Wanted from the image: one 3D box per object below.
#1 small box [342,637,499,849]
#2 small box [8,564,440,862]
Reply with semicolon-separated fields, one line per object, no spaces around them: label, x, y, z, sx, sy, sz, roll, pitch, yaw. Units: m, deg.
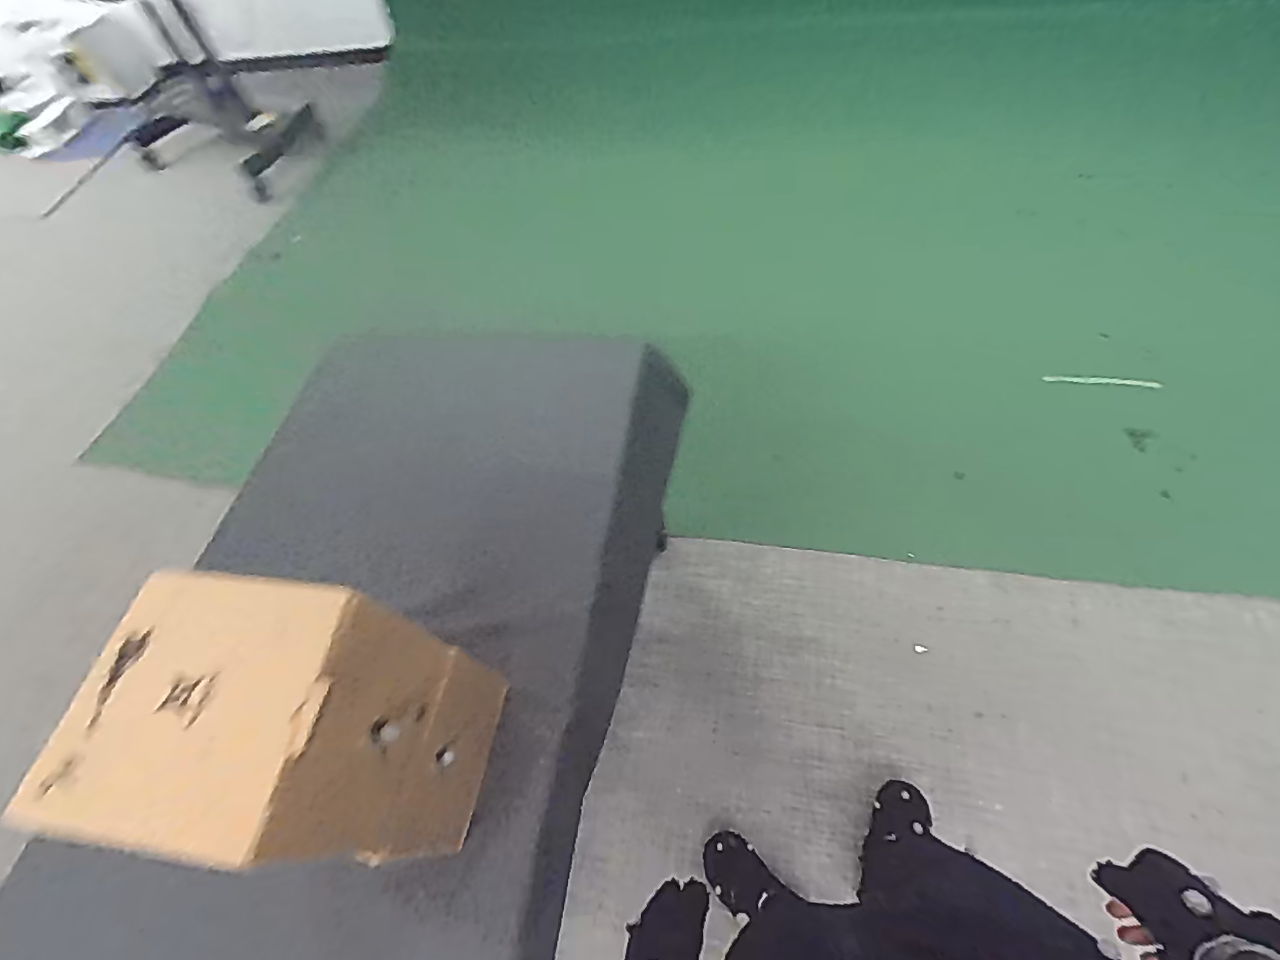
small box;-0.267;0.263;0.568;0.168;0.176;0.179;6;60;10
small box;-0.288;0.180;0.429;0.179;0.176;0.168;4;61;9
